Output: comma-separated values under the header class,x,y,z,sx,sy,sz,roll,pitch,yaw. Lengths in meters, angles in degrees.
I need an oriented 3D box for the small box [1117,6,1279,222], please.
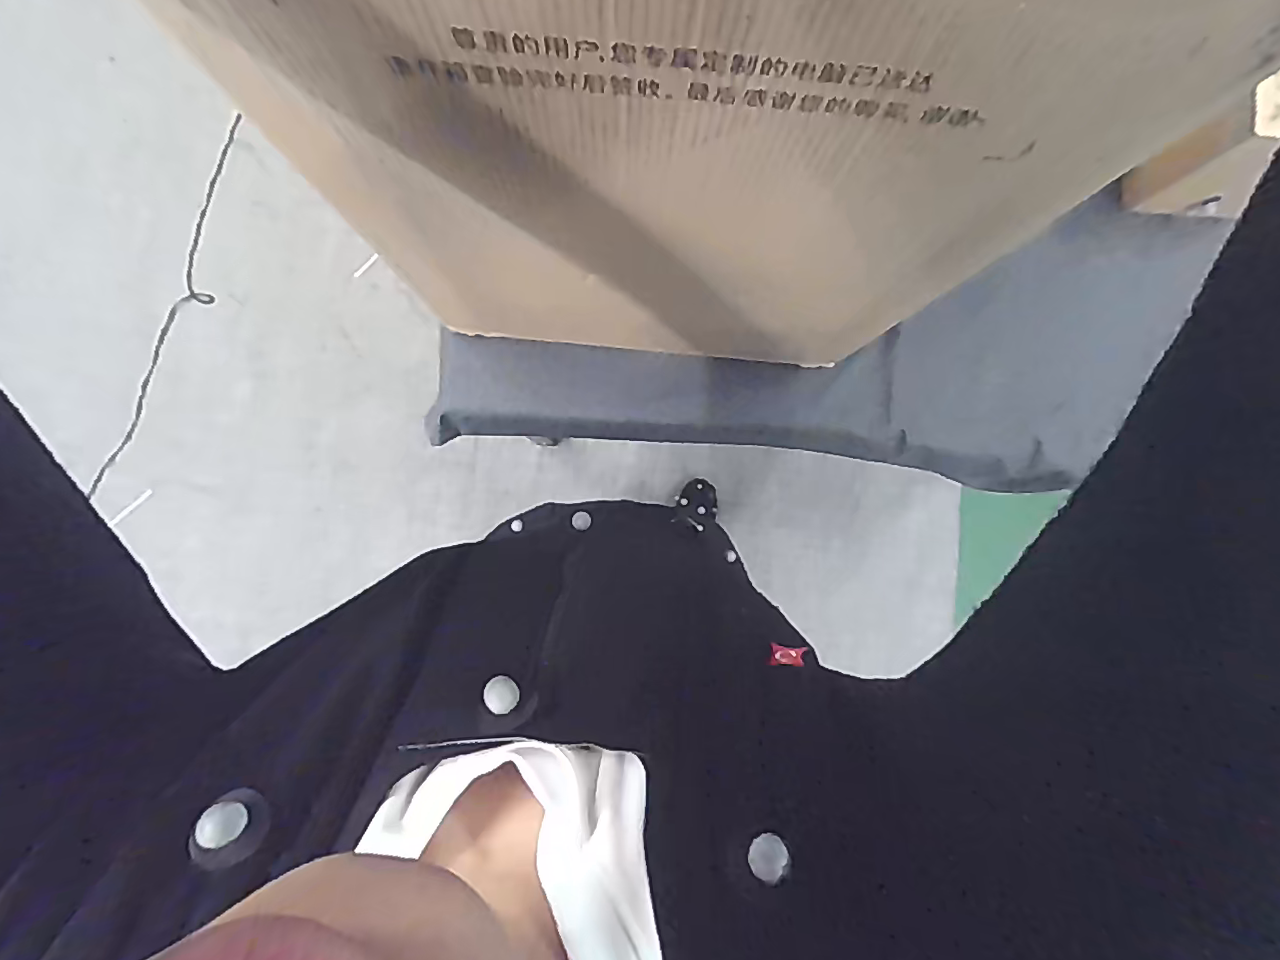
class,x,y,z,sx,sy,sz,roll,pitch,yaw
small box,0.791,-0.463,0.712,0.179,0.176,0.168,4,88,-2
